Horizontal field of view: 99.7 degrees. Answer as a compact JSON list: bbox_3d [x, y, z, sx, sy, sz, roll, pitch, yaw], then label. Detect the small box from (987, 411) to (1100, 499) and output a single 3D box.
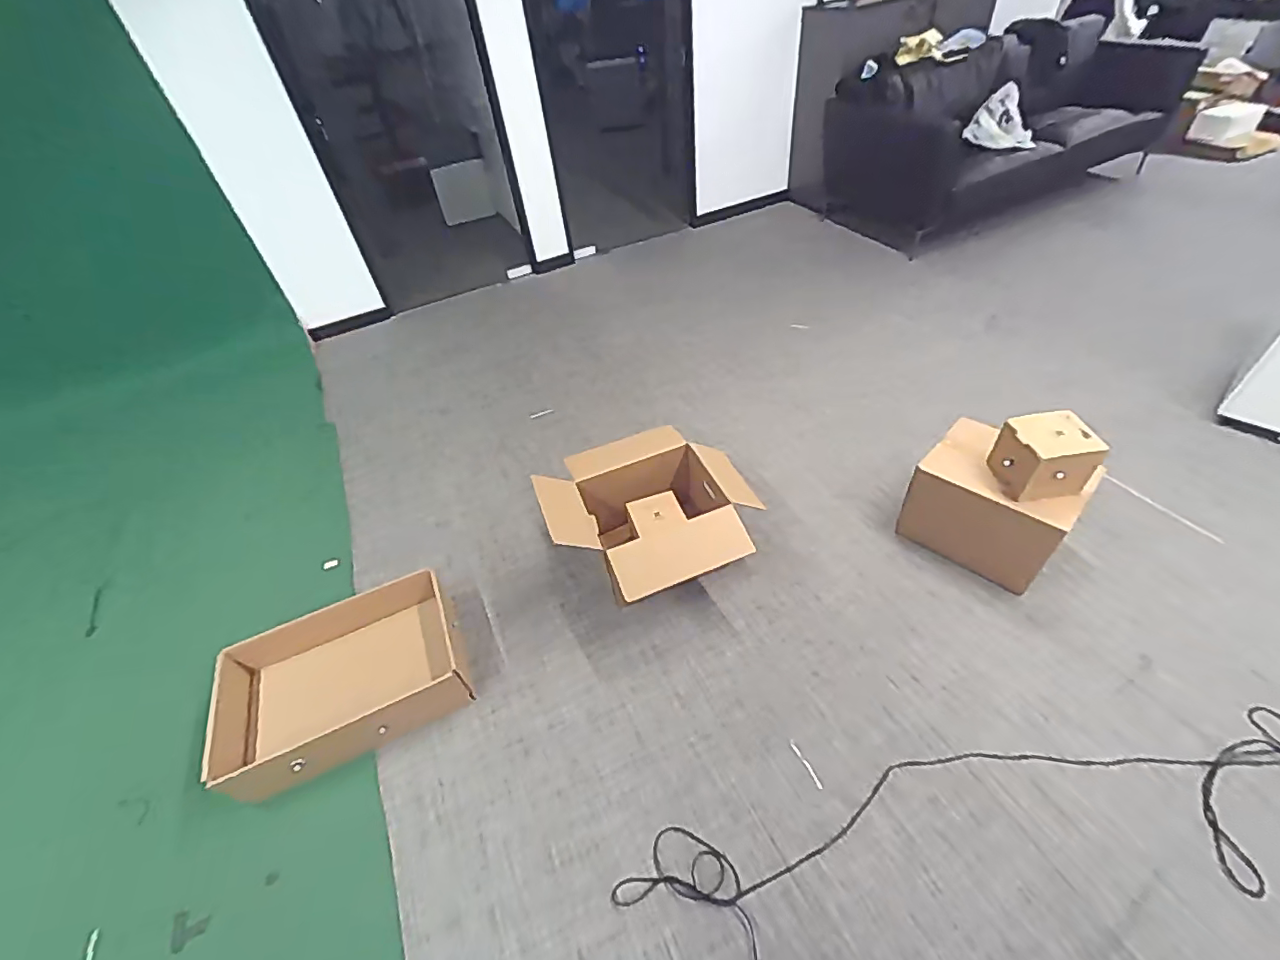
[{"bbox_3d":[1.096,-0.064,1.492,0.179,0.176,0.168,-9,45,2],"label":"small box"}]
